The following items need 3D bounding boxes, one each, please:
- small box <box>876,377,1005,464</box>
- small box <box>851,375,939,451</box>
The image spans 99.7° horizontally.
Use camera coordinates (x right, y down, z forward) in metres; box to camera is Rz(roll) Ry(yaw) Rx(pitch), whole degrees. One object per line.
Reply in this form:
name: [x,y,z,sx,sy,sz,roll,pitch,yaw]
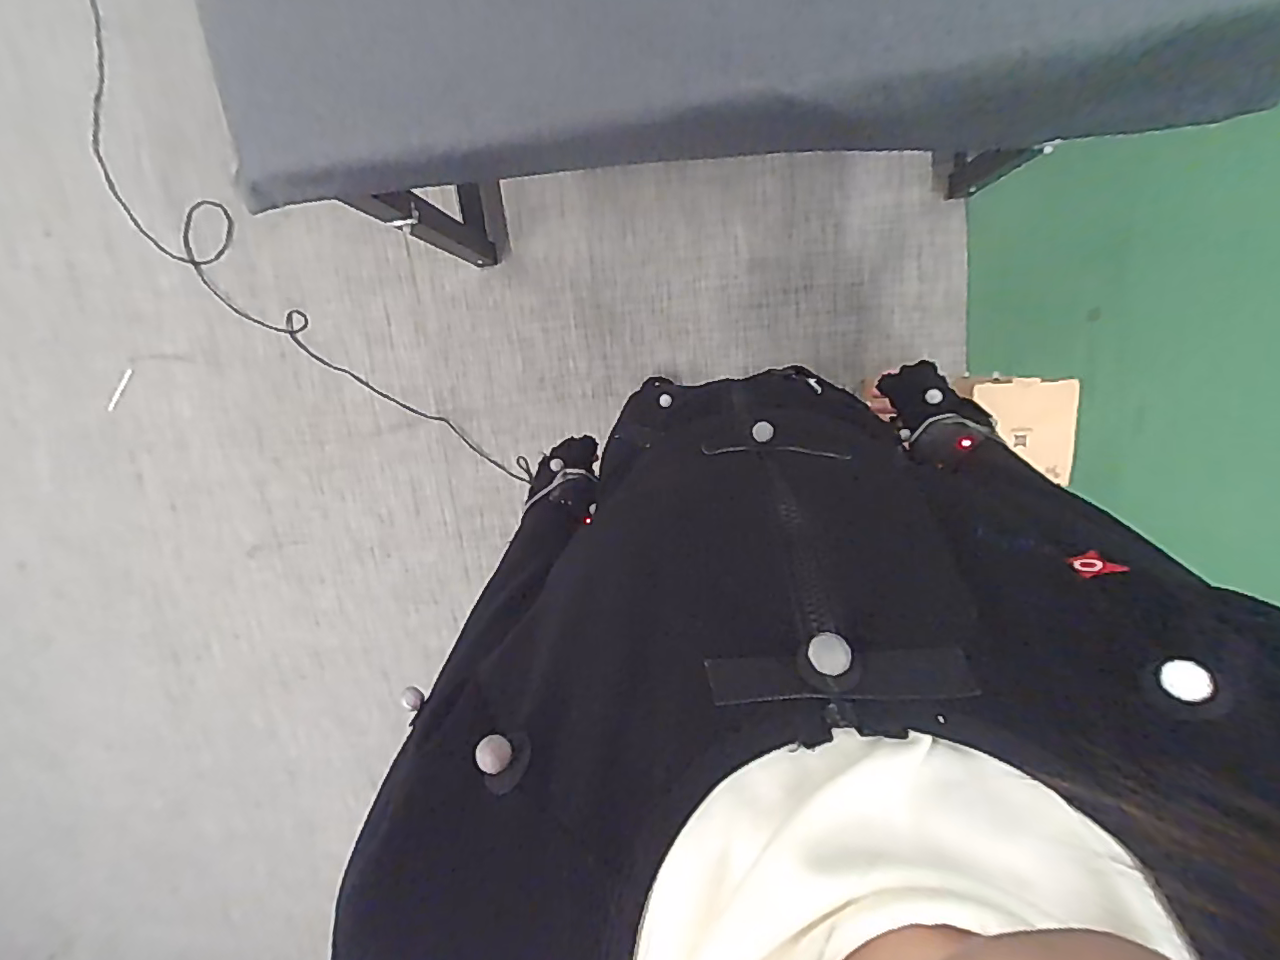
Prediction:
small box: [0.615,-0.128,1.125,0.179,0.176,0.168,-1,101,4]
small box: [0.621,-0.163,1.286,0.179,0.176,0.168,-1,101,5]
